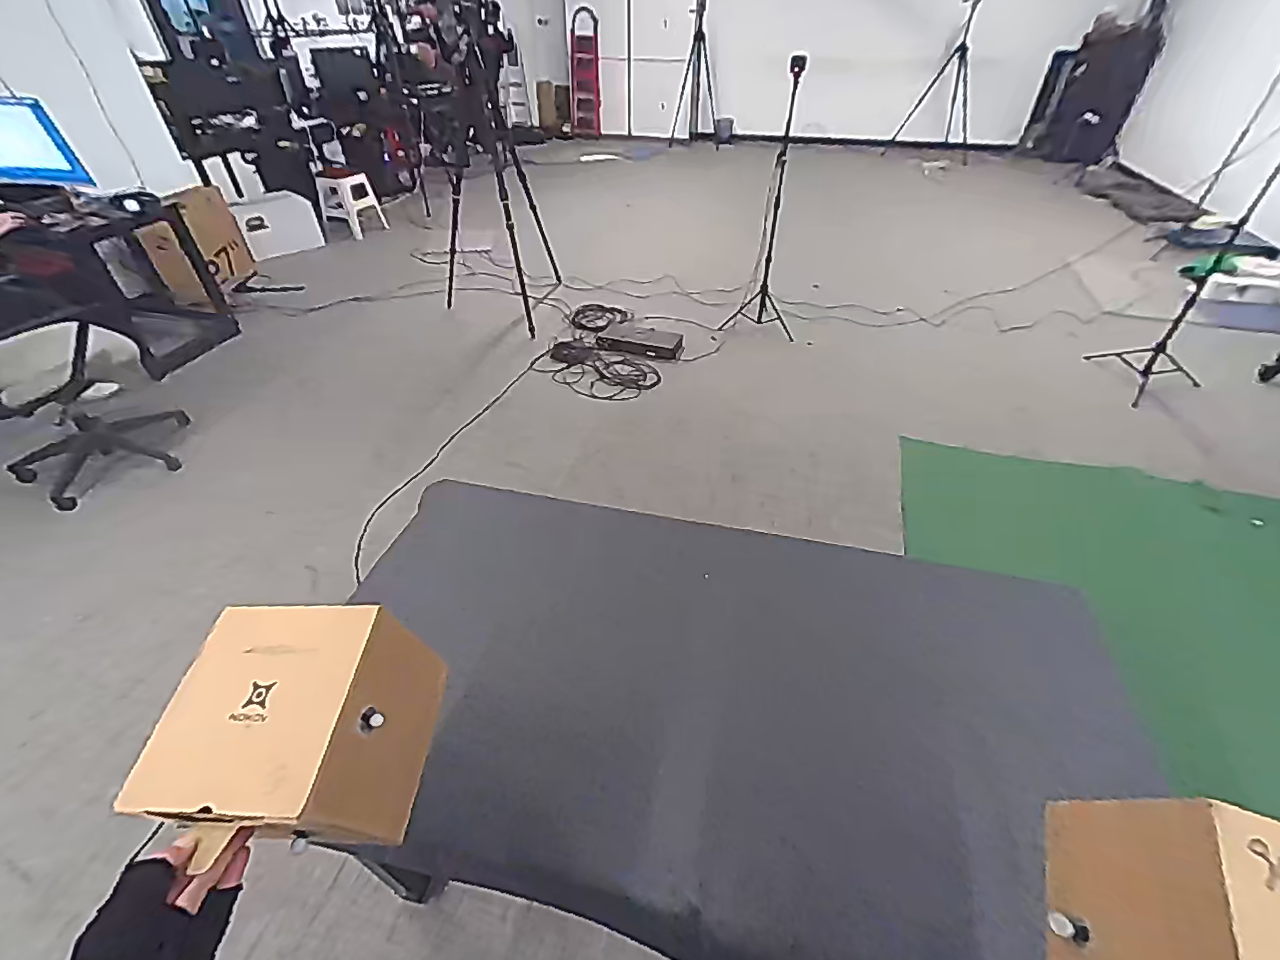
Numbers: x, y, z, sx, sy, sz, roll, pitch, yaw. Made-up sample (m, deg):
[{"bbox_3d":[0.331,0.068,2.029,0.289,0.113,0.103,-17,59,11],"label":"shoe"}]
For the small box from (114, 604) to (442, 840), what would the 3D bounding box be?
[{"bbox_3d":[-0.315,0.236,0.522,0.168,0.176,0.179,-2,51,7],"label":"small box"}]

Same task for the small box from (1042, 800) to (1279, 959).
[{"bbox_3d":[0.391,0.328,0.341,0.168,0.176,0.179,17,62,11],"label":"small box"}]
